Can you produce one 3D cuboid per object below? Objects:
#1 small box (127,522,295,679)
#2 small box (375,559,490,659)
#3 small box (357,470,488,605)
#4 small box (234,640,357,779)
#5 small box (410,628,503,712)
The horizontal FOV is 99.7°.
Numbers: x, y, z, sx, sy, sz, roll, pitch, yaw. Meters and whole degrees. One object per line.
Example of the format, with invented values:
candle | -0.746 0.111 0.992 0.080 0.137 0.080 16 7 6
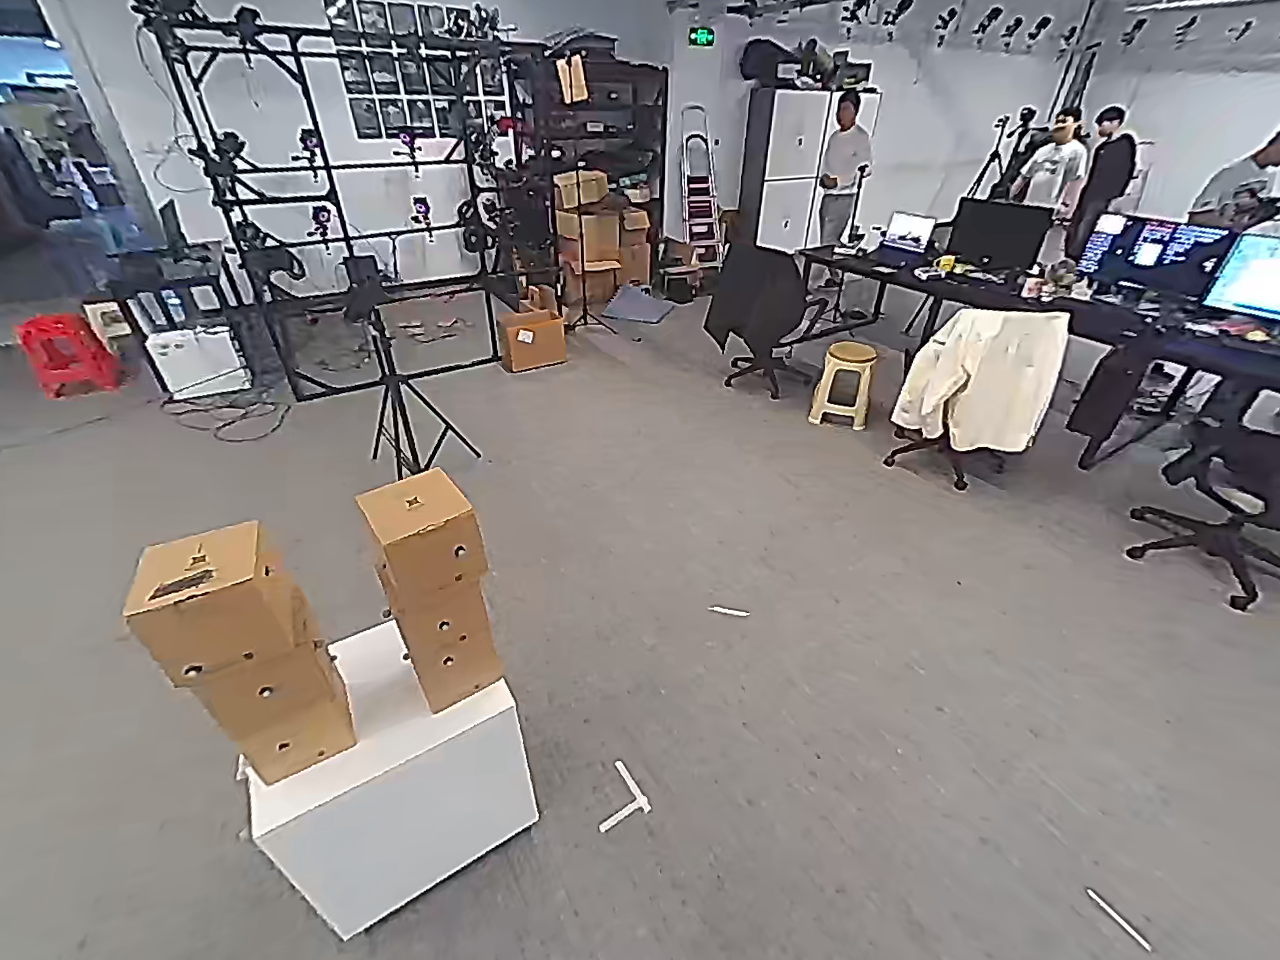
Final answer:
small box | -0.697 0.204 0.904 0.168 0.176 0.179 -17 37 -23
small box | -0.428 0.246 1.129 0.168 0.176 0.179 -21 40 -27
small box | -0.410 0.114 1.035 0.168 0.176 0.179 -24 41 -31
small box | -0.695 0.470 1.098 0.168 0.176 0.179 -19 38 -26
small box | -0.428 0.382 1.224 0.168 0.176 0.179 -22 40 -27
